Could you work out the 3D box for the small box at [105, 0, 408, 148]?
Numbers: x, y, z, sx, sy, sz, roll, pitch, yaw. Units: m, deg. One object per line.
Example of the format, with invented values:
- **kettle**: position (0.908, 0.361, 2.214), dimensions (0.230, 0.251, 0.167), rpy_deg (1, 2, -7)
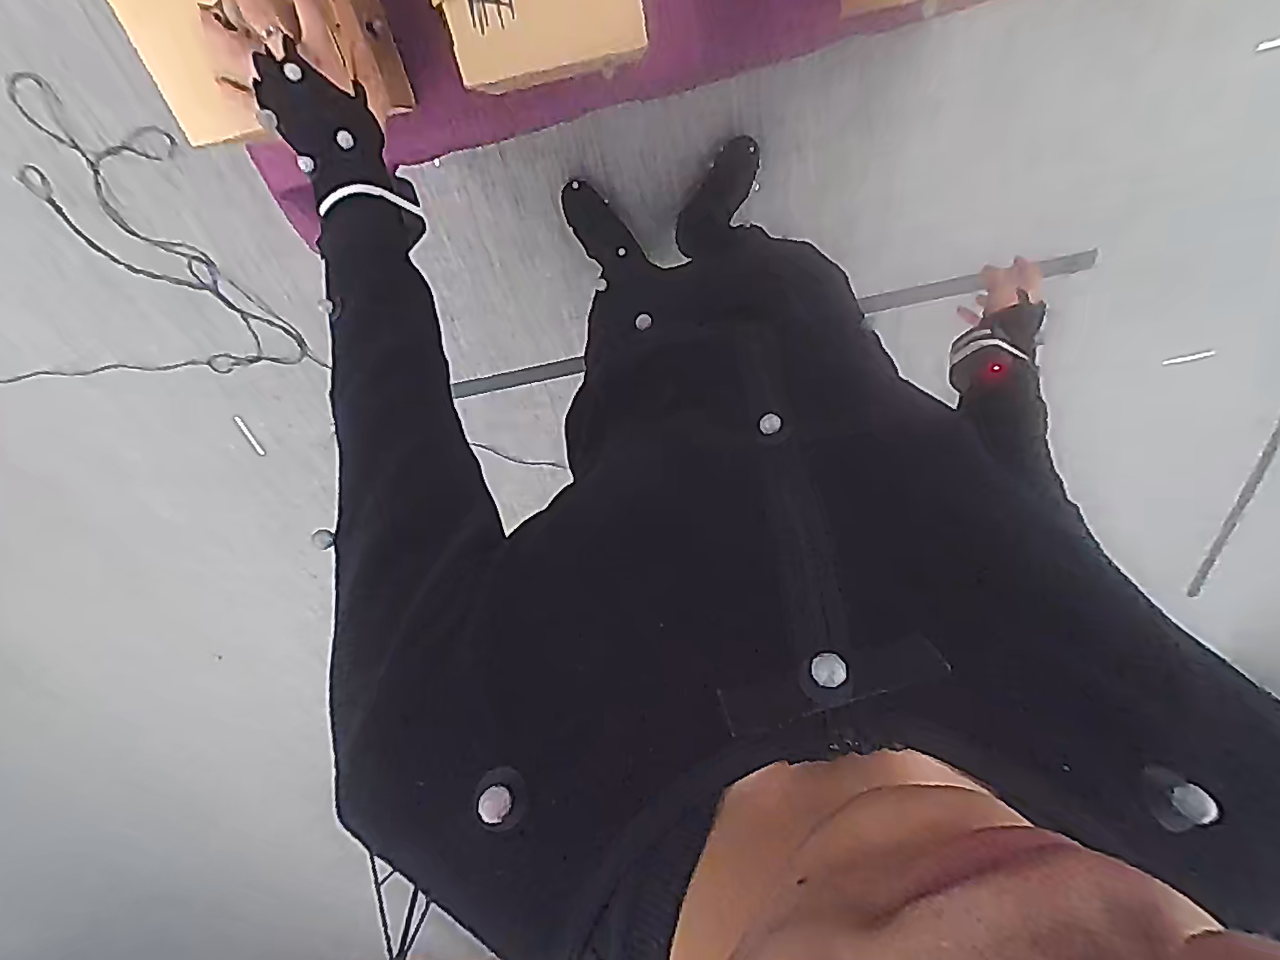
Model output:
- **small box**: position (-0.365, -0.440, 0.533), dimensions (0.179, 0.176, 0.168), rpy_deg (-11, 124, 4)
